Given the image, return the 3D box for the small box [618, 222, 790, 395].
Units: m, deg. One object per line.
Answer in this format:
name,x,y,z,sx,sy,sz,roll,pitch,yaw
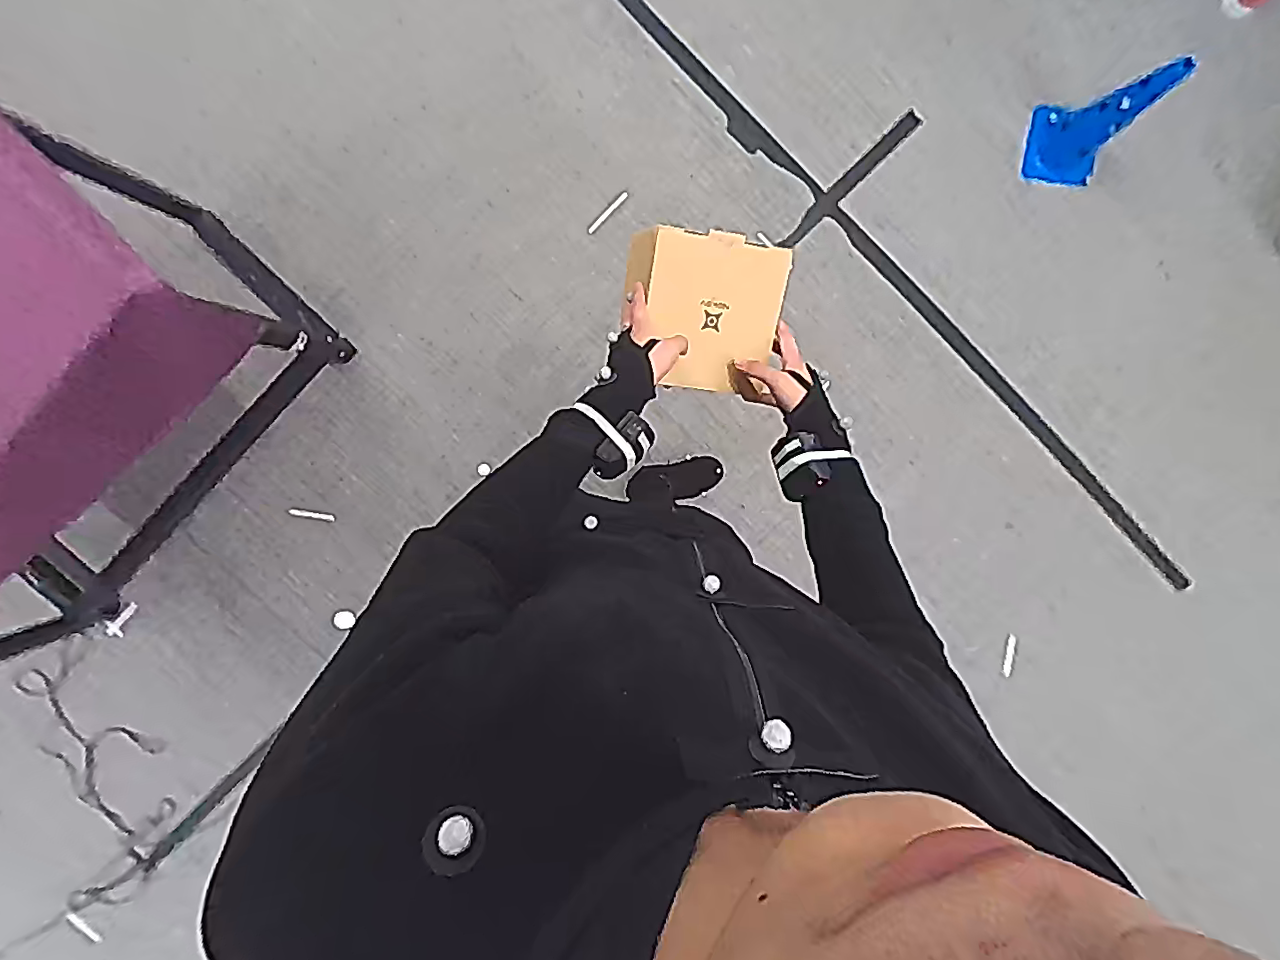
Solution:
small box,0.068,-0.220,0.703,0.168,0.176,0.179,4,109,-12
